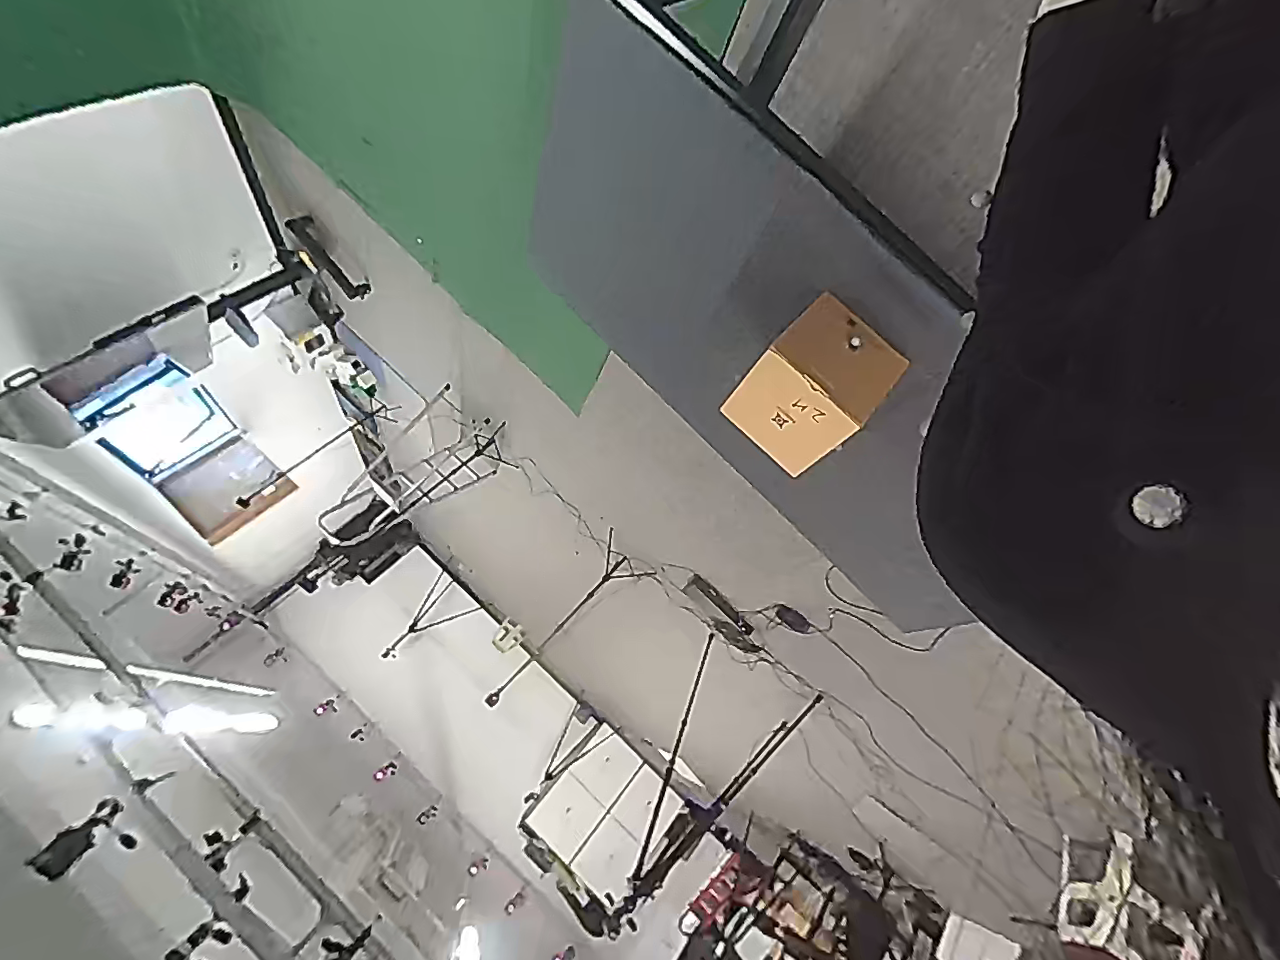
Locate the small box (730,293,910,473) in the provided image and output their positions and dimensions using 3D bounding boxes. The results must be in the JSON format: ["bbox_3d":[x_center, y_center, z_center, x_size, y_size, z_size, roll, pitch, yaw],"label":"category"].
[{"bbox_3d":[0.278,-0.148,0.840,0.168,0.176,0.179,42,153,4],"label":"small box"}]
